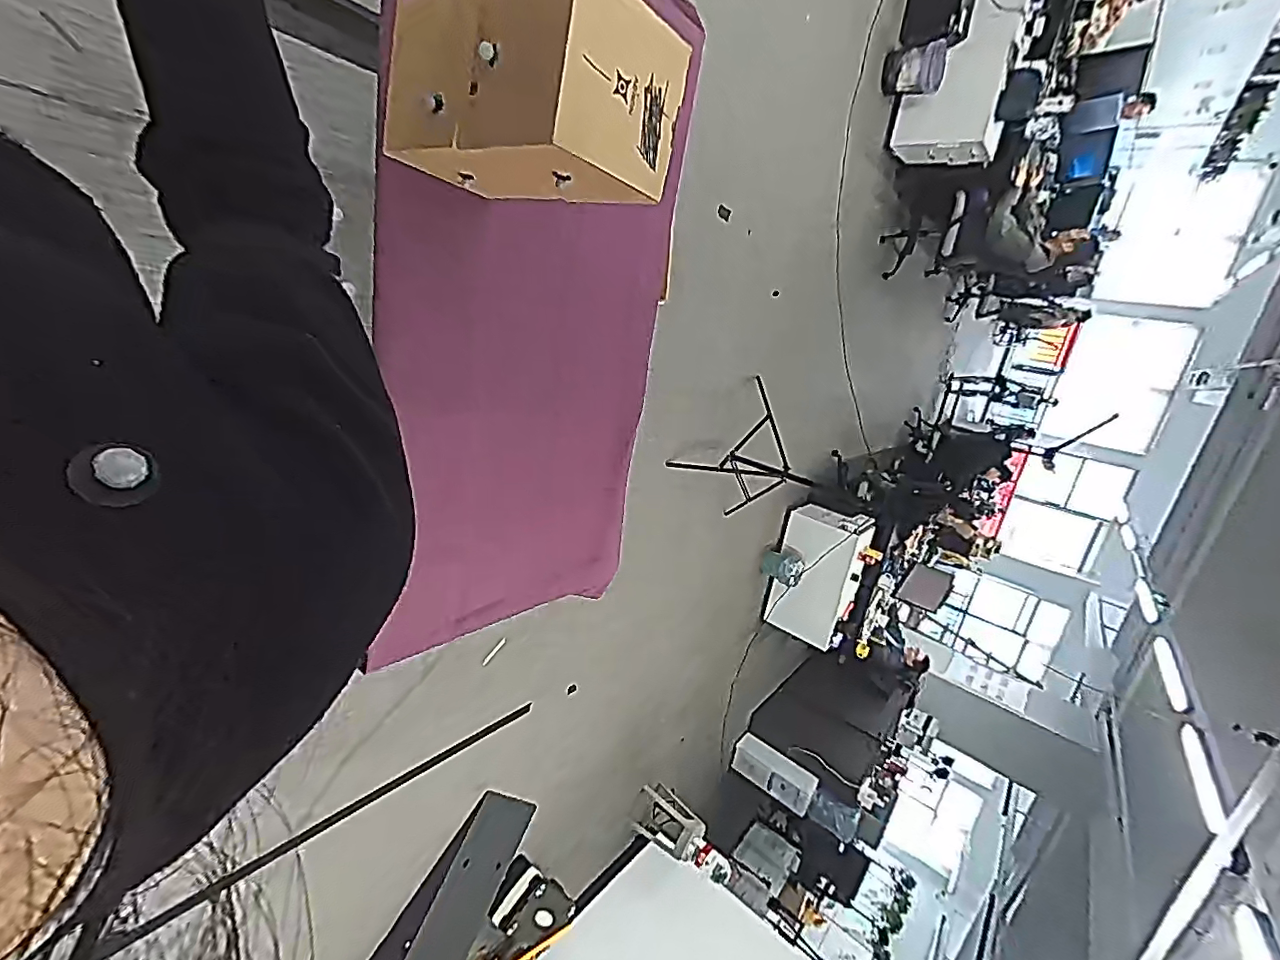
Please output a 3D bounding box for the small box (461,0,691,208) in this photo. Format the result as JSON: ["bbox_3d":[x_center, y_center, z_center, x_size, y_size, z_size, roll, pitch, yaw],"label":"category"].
[{"bbox_3d":[-0.074,-0.428,0.615,0.179,0.176,0.168,-5,112,-51],"label":"small box"}]

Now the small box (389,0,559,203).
[{"bbox_3d":[-0.203,-0.481,0.701,0.168,0.176,0.179,-5,112,-52],"label":"small box"}]
